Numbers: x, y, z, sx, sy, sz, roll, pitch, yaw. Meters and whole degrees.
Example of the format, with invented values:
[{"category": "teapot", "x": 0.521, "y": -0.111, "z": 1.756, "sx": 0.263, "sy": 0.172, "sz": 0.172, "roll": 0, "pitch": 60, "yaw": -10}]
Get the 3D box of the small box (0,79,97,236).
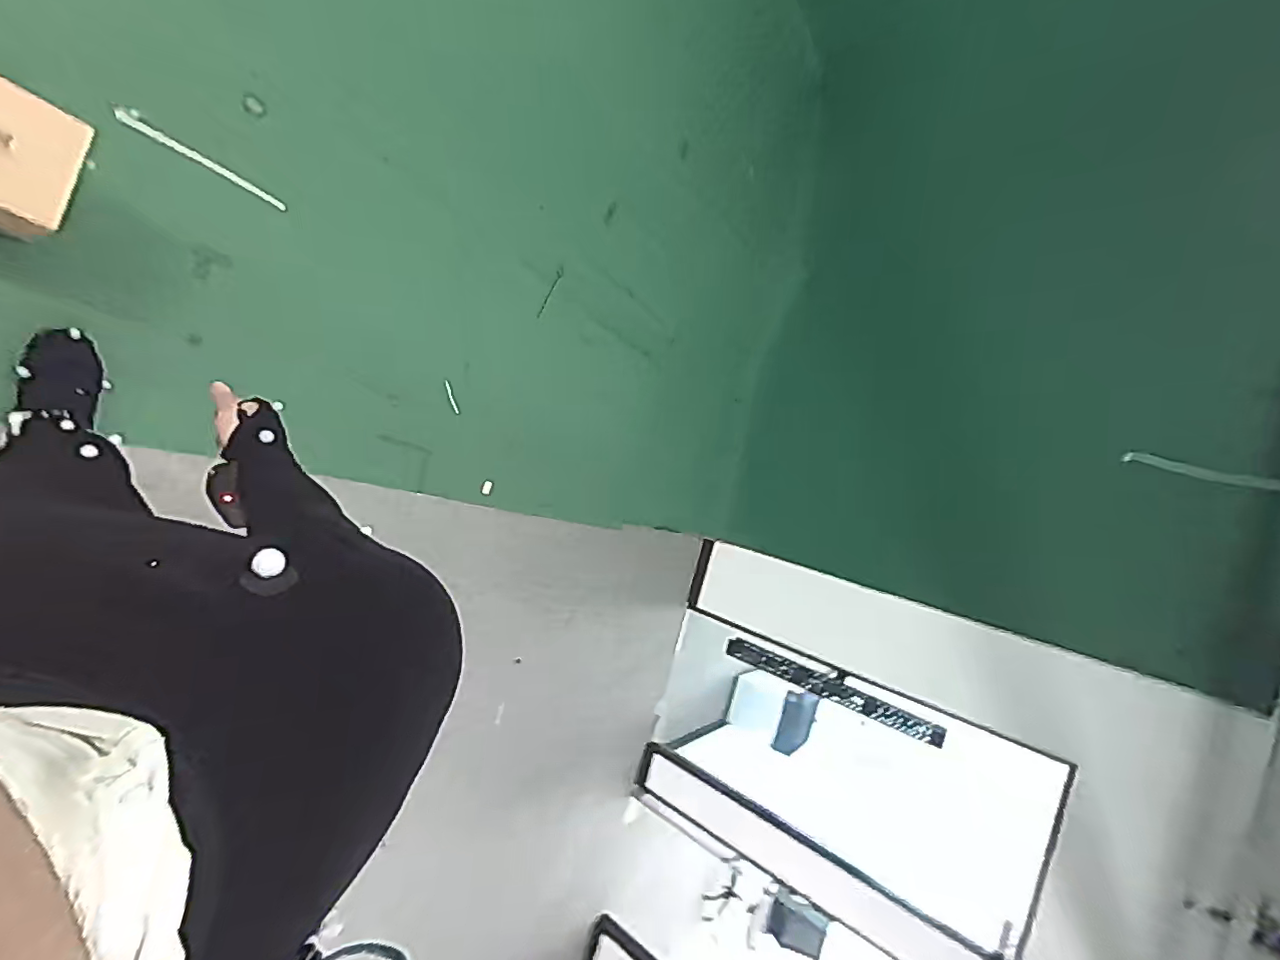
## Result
[{"category": "small box", "x": -0.987, "y": -0.499, "z": 0.826, "sx": 0.168, "sy": 0.176, "sz": 0.179, "roll": 22, "pitch": 84, "yaw": -54}]
